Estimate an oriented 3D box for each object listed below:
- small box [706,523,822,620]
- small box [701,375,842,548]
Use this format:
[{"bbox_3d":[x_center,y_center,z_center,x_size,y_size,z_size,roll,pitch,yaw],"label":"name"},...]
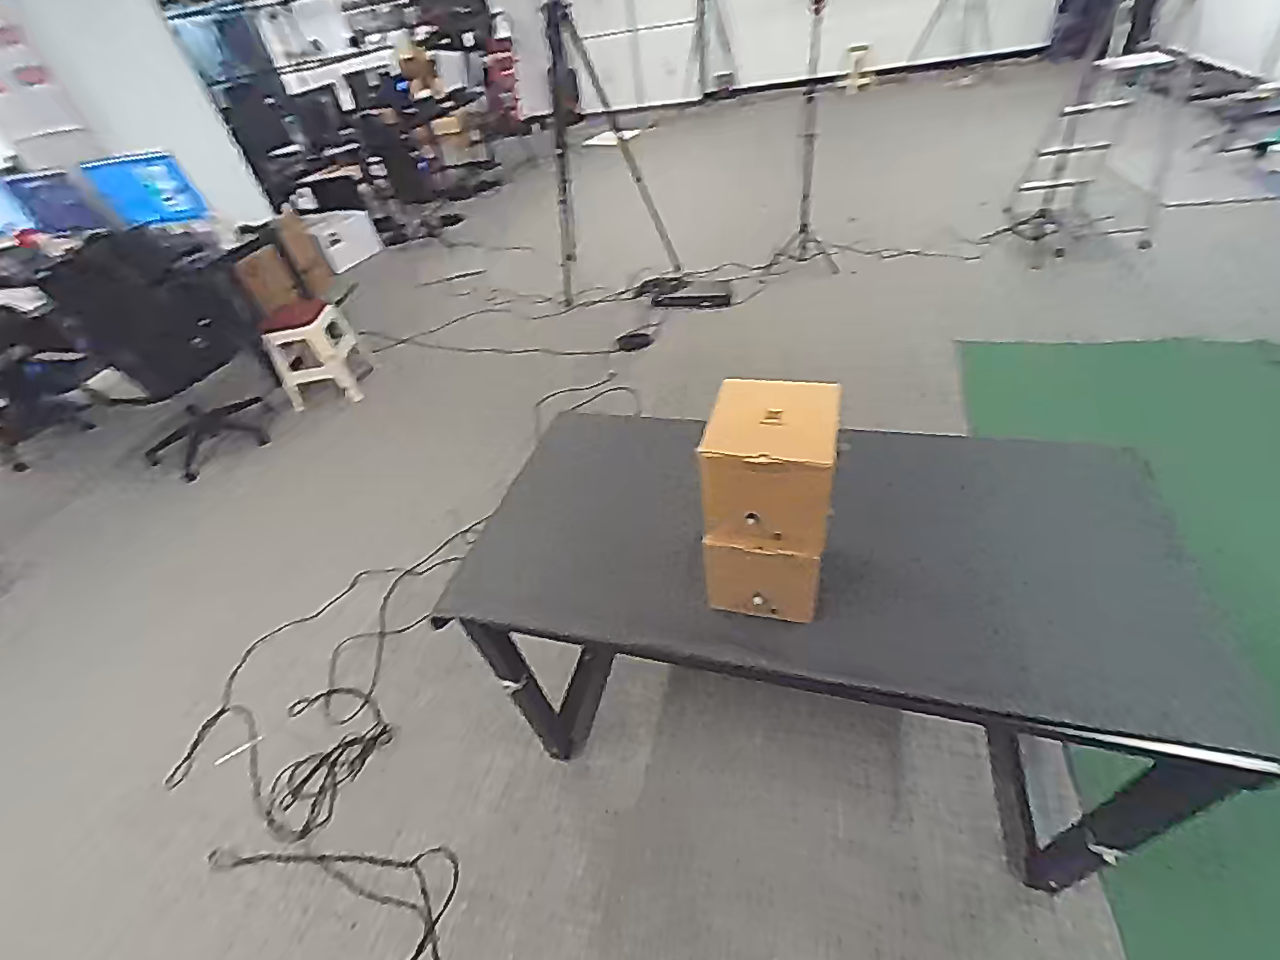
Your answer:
[{"bbox_3d":[0.207,0.096,0.876,0.168,0.176,0.179,5,44,18],"label":"small box"},{"bbox_3d":[0.189,-0.029,0.774,0.168,0.176,0.179,7,45,18],"label":"small box"}]
